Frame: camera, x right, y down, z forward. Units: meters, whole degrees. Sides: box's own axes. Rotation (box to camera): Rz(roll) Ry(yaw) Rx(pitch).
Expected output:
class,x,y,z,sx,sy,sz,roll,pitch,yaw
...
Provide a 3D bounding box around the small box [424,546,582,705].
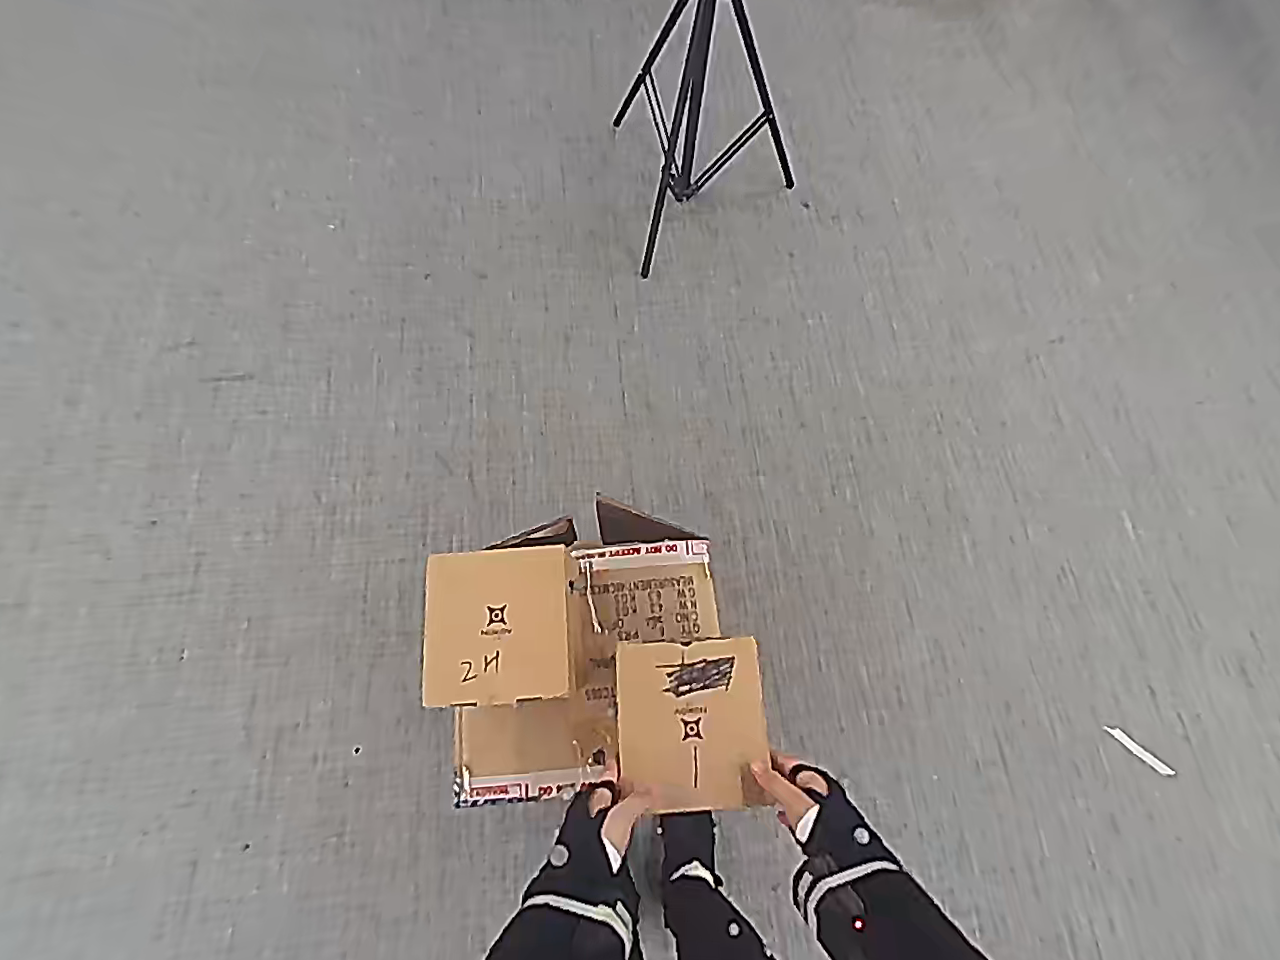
class,x,y,z,sx,sy,sz,roll,pitch,yaw
small box,-0.167,0.192,0.711,0.168,0.176,0.179,-4,73,-1

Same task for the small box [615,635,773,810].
class,x,y,z,sx,sy,sz,roll,pitch,yaw
small box,0.054,0.297,0.675,0.168,0.176,0.179,-1,67,-4
